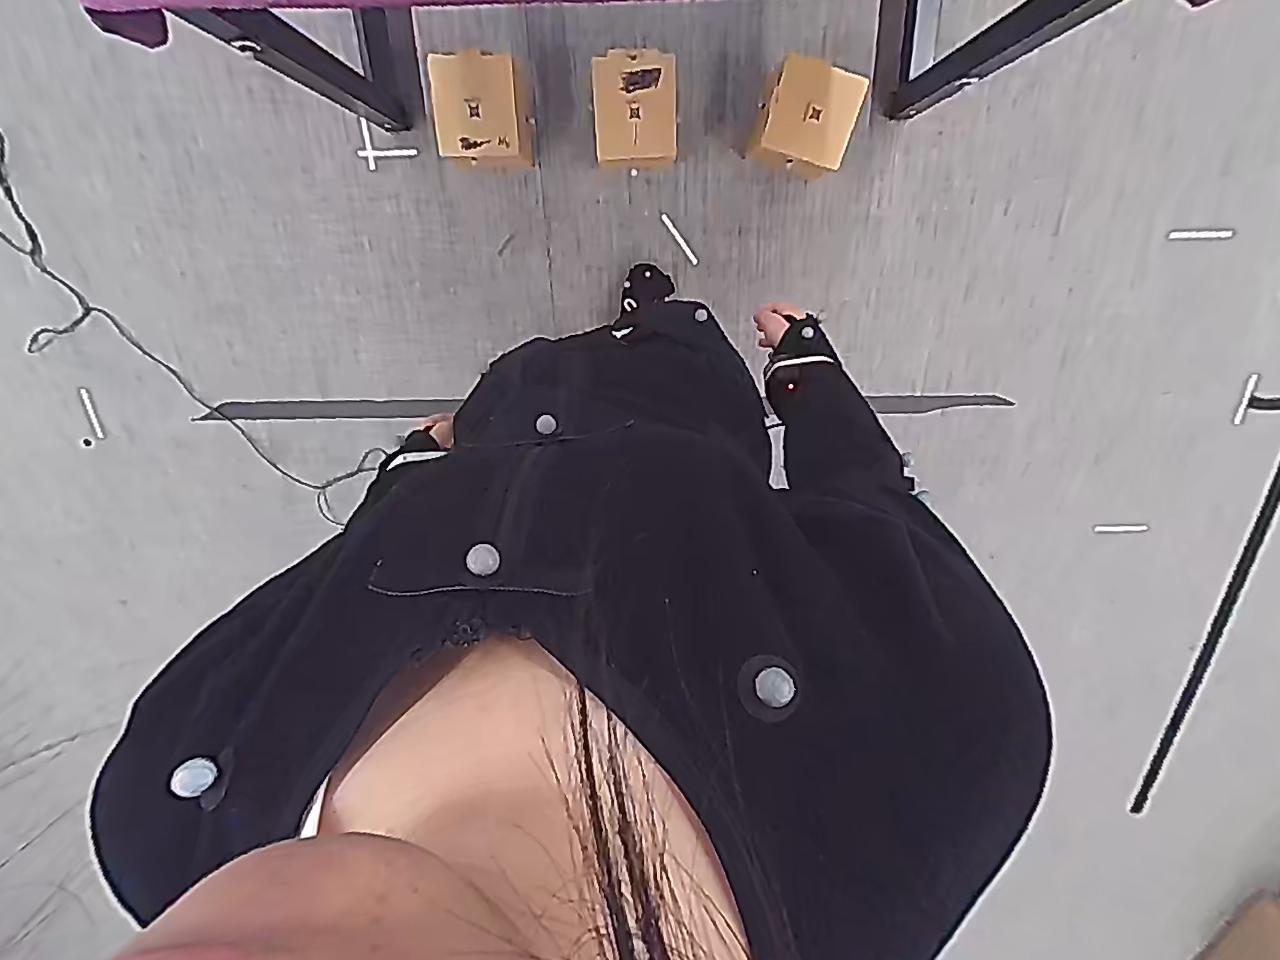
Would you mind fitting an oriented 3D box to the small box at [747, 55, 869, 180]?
[{"bbox_3d":[0.347,-0.760,1.155,0.179,0.176,0.168,15,111,-5],"label":"small box"}]

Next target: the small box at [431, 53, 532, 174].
[{"bbox_3d":[-0.326,-0.766,1.146,0.168,0.176,0.179,0,110,-1],"label":"small box"}]

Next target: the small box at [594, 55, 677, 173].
[{"bbox_3d":[-0.010,-0.766,1.148,0.168,0.176,0.179,-2,112,0],"label":"small box"}]
